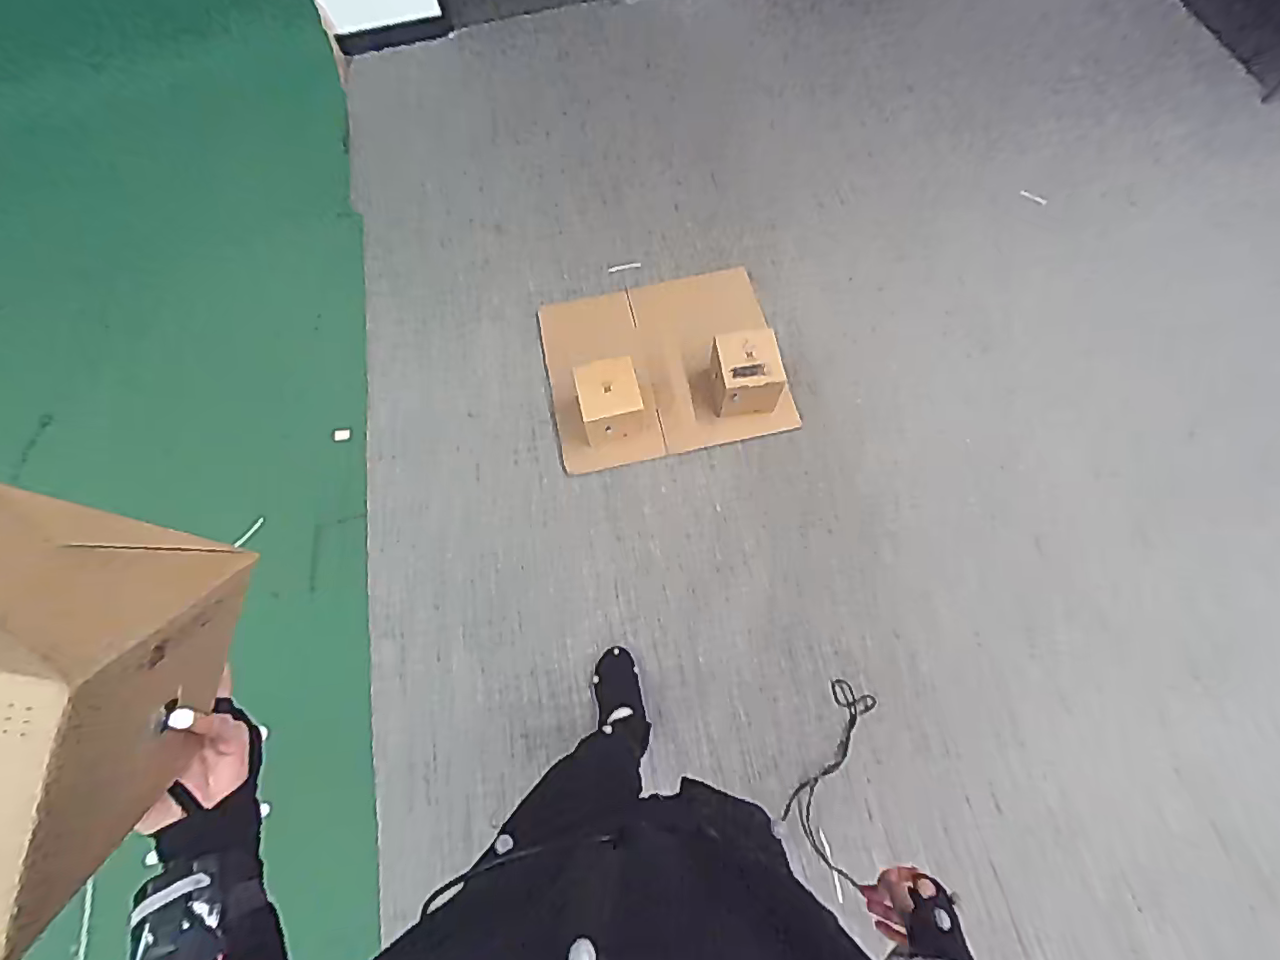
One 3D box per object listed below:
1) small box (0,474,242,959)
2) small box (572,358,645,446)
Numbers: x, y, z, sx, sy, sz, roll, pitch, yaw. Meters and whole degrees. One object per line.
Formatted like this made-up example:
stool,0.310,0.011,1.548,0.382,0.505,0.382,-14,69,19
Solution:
small box,-0.355,0.109,0.293,0.179,0.168,0.176,20,98,-16
small box,-0.083,-0.210,1.515,0.168,0.176,0.179,-14,68,-3
